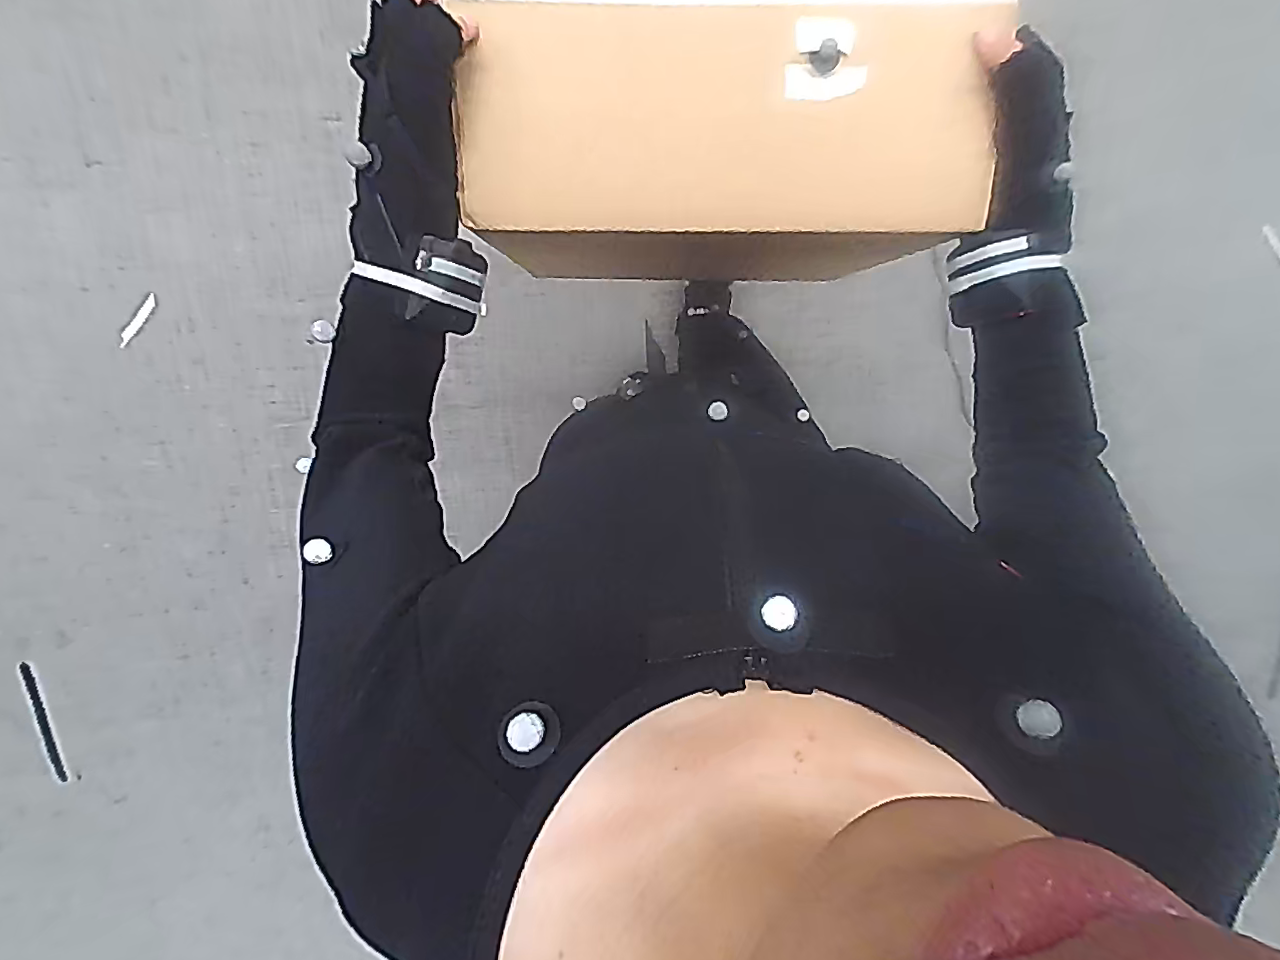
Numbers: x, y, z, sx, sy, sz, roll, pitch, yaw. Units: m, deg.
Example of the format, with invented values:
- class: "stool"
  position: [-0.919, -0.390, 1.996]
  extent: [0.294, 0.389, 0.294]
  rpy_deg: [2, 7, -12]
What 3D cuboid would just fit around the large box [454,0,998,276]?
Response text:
- class: "large box"
  position: [0.058, -0.390, 0.535]
  extent: [0.408, 0.320, 0.320]
  rpy_deg: [0, 104, -2]
